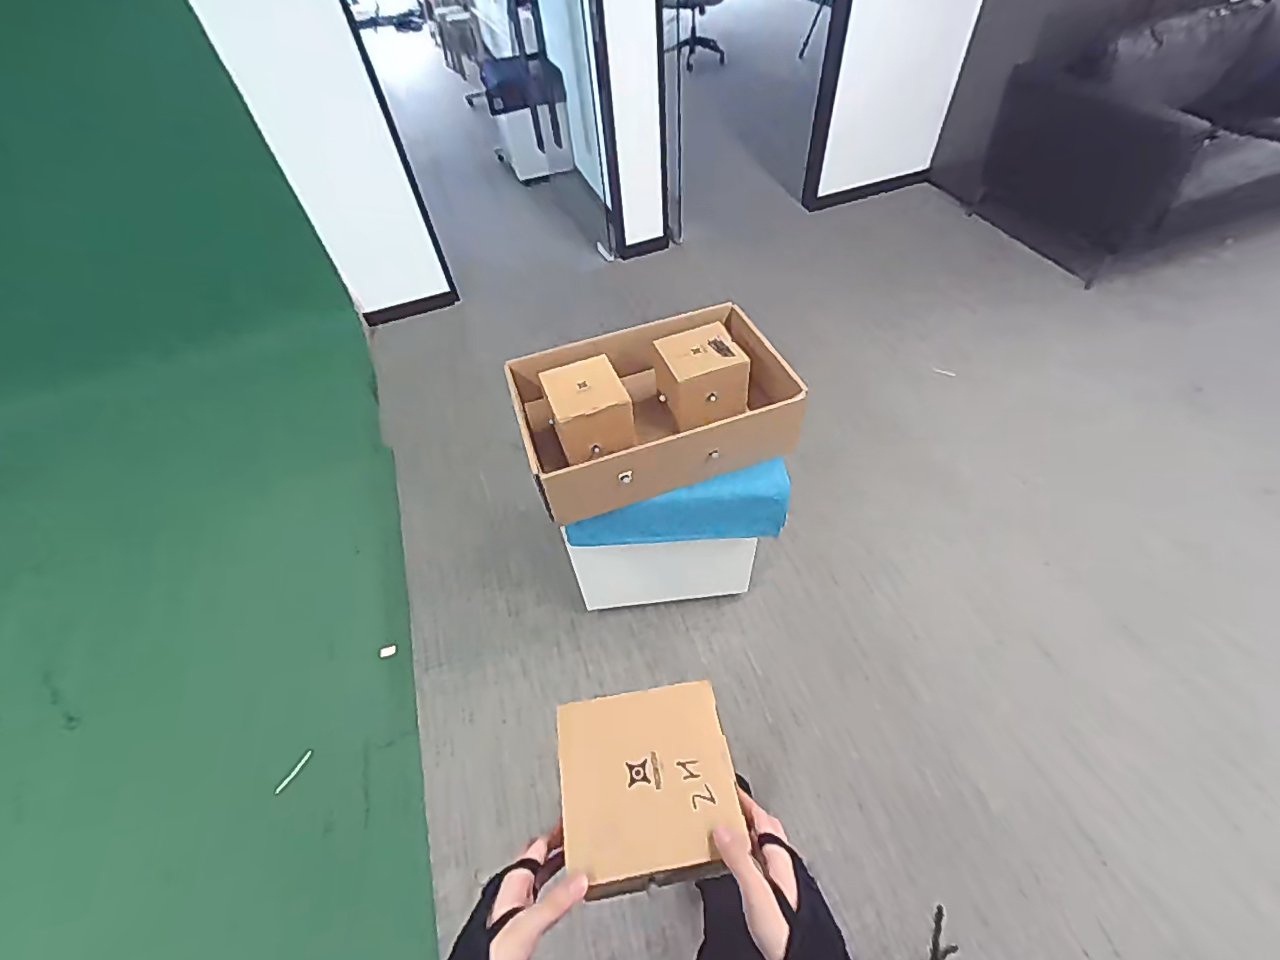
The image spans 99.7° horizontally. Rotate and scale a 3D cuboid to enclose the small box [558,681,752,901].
[{"bbox_3d":[0.011,0.349,0.604,0.179,0.176,0.168,-8,49,-5],"label":"small box"}]
